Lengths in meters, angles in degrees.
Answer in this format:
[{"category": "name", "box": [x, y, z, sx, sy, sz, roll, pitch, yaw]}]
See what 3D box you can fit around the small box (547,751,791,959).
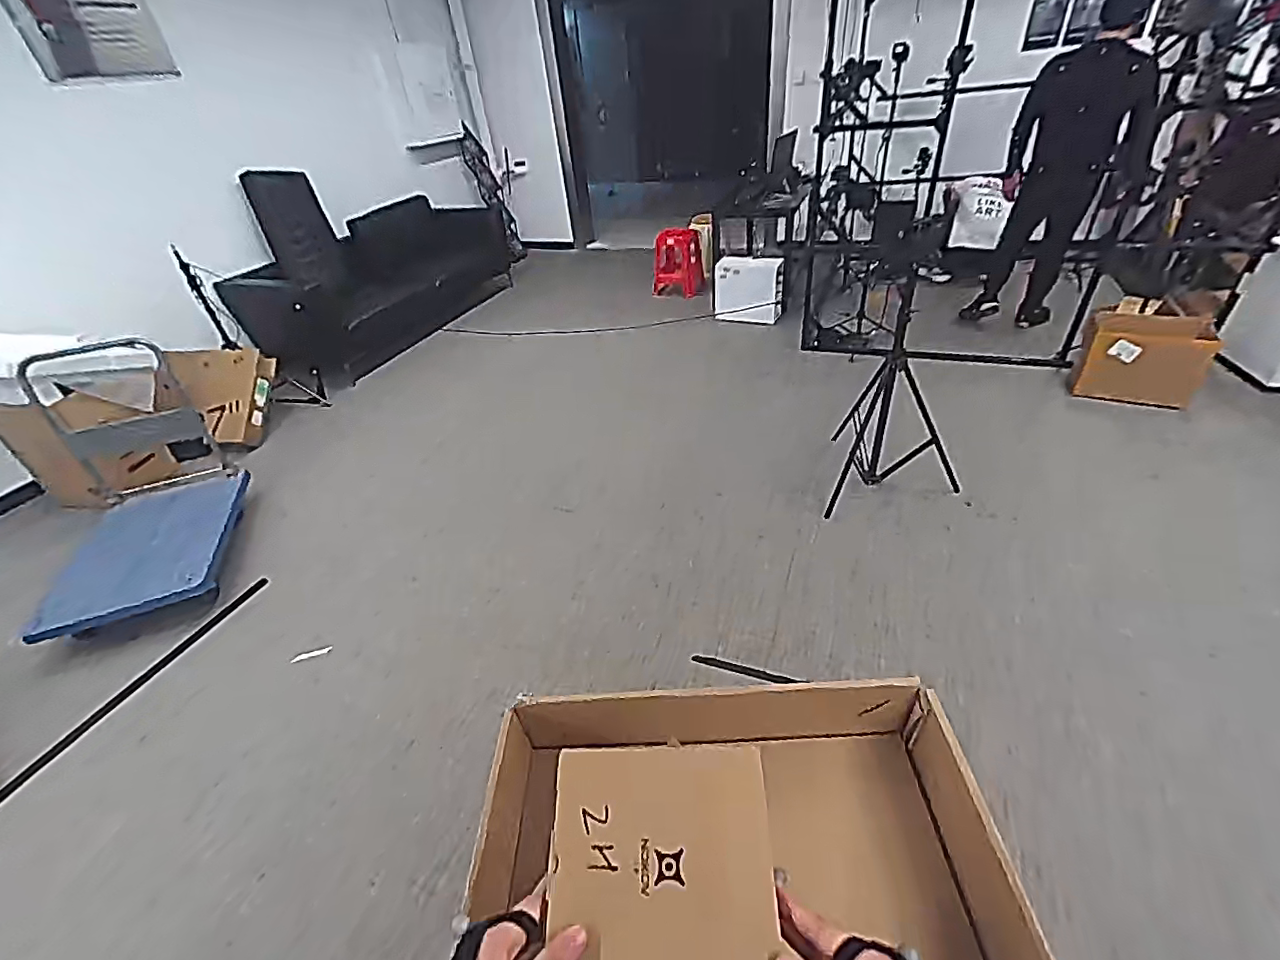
[{"category": "small box", "box": [0.030, 0.346, 0.479, 0.179, 0.176, 0.168, -4, 52, 7]}]
